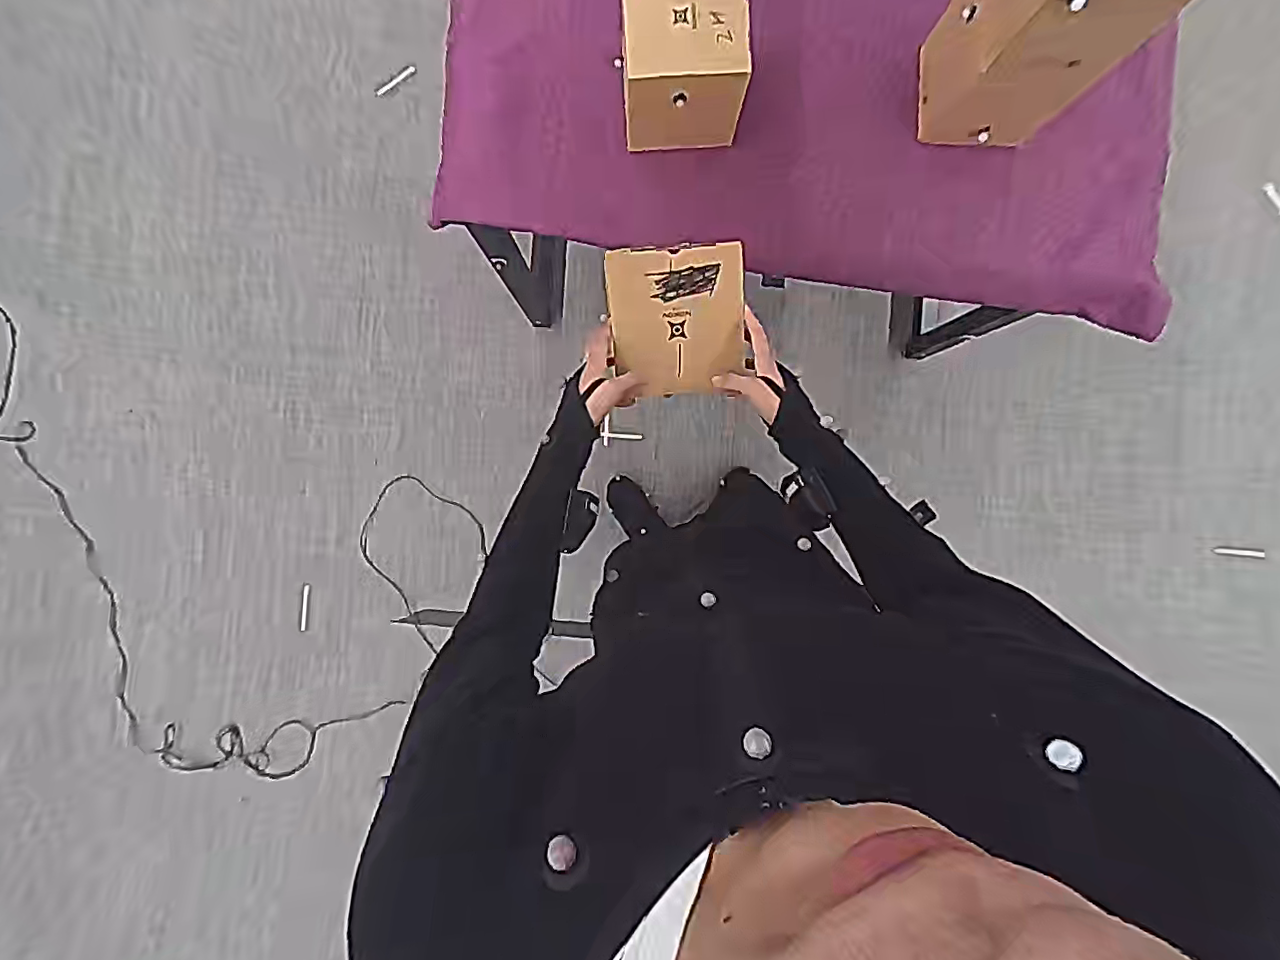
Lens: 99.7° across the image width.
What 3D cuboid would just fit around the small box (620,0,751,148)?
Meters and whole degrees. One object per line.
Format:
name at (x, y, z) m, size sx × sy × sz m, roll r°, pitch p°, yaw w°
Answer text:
small box at (0.061, -0.631, 0.817) m, size 0.179 × 0.176 × 0.168 m, roll -3°, pitch 90°, yaw -1°

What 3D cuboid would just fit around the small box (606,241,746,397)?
small box at (0.042, -0.211, 0.729) m, size 0.168 × 0.176 × 0.179 m, roll -4°, pitch 106°, yaw -2°

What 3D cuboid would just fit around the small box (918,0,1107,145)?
small box at (0.557, -0.642, 0.826) m, size 0.179 × 0.176 × 0.168 m, roll 1°, pitch 90°, yaw -1°
